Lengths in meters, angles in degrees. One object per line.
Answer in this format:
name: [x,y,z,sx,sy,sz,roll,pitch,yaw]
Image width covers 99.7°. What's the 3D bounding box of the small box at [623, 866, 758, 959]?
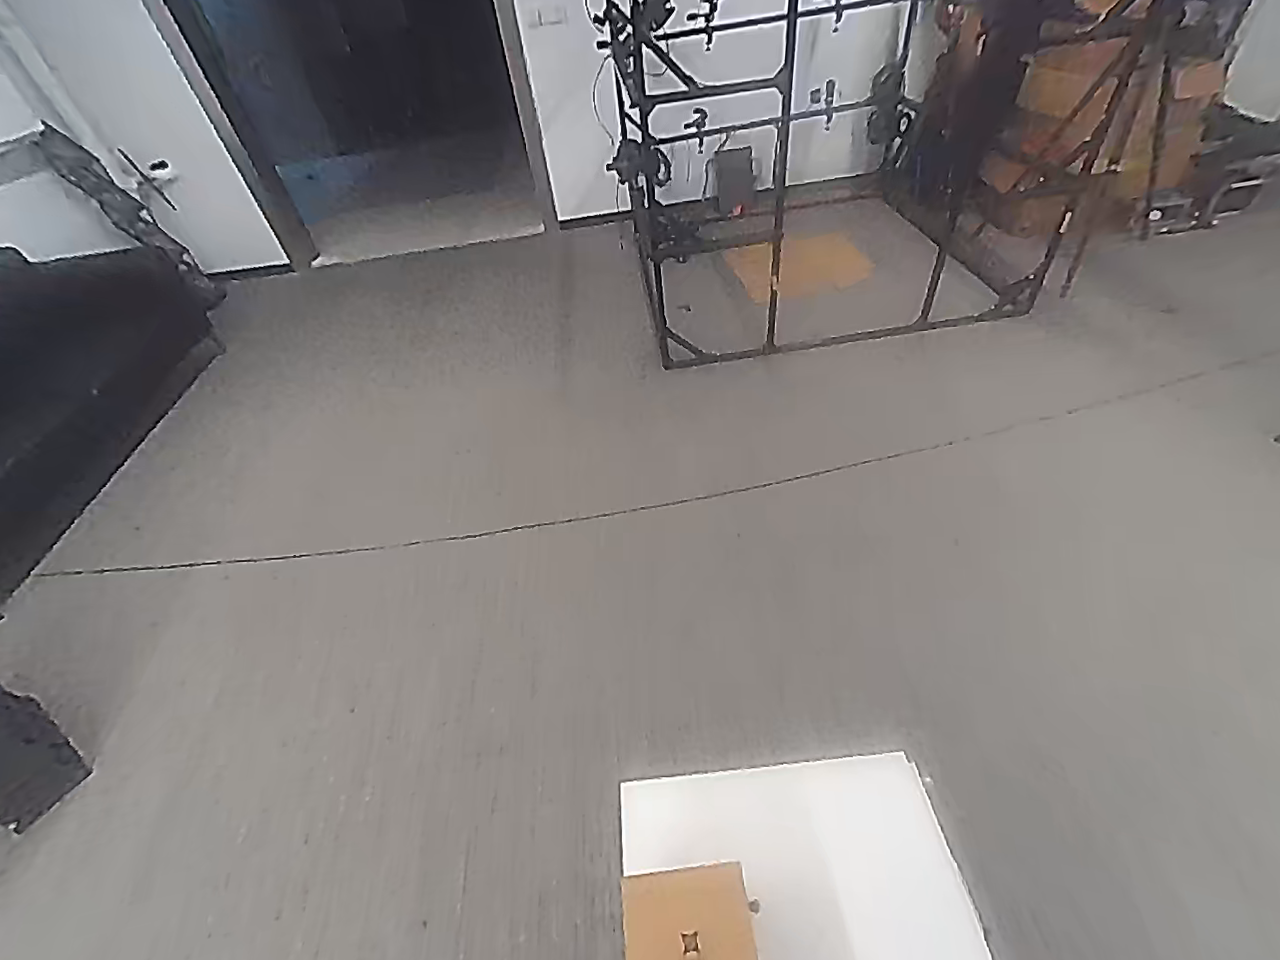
small box: [0.071,0.646,0.720,0.168,0.176,0.179,-9,44,2]
